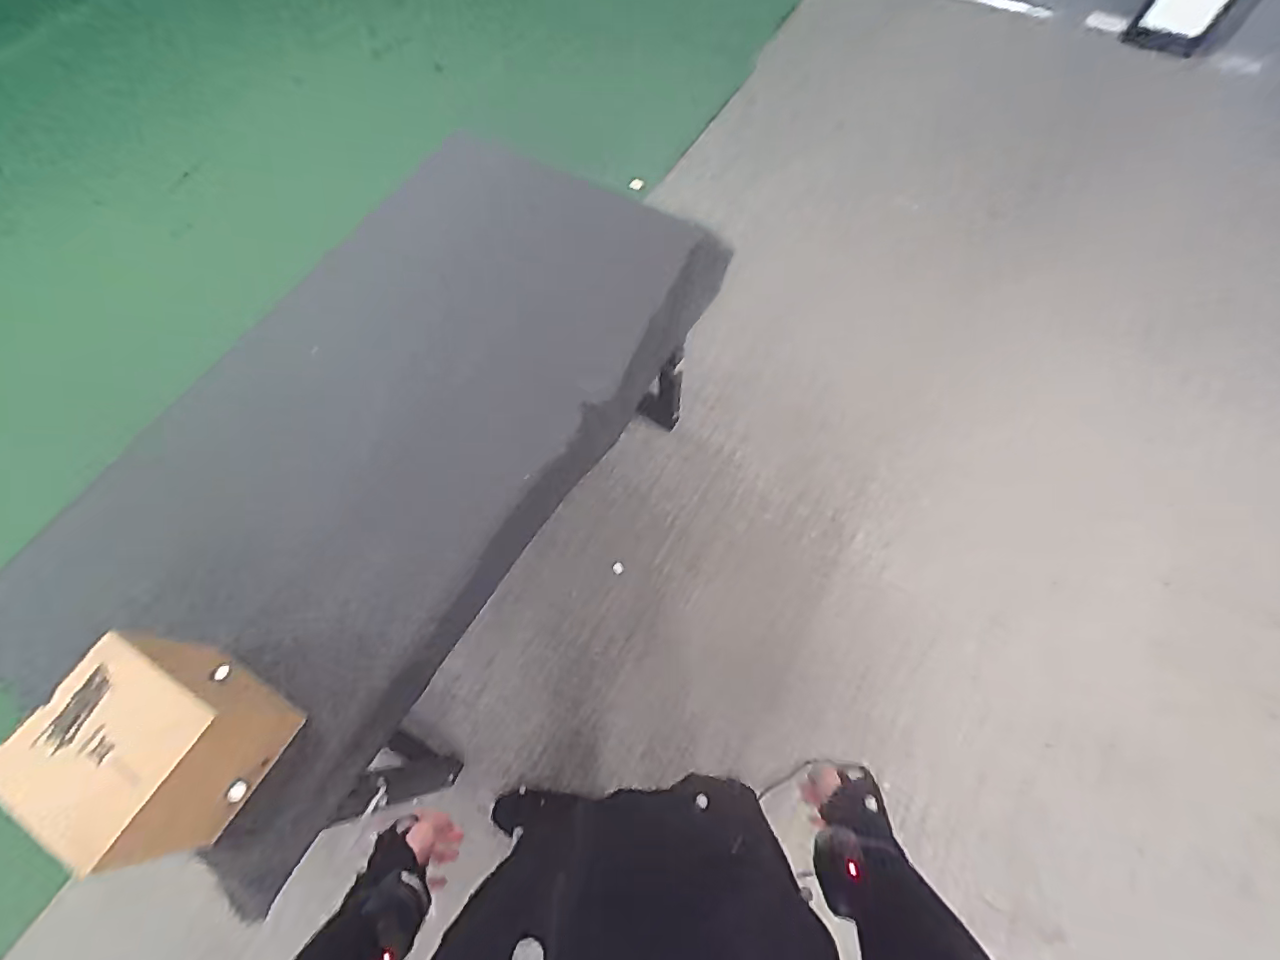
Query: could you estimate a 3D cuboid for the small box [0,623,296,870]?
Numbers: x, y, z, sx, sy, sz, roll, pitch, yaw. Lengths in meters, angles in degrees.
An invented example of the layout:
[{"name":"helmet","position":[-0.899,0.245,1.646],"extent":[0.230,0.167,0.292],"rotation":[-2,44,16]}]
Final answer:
[{"name":"small box","position":[-0.549,0.290,0.611],"extent":[0.179,0.176,0.168],"rotation":[28,69,13]}]
